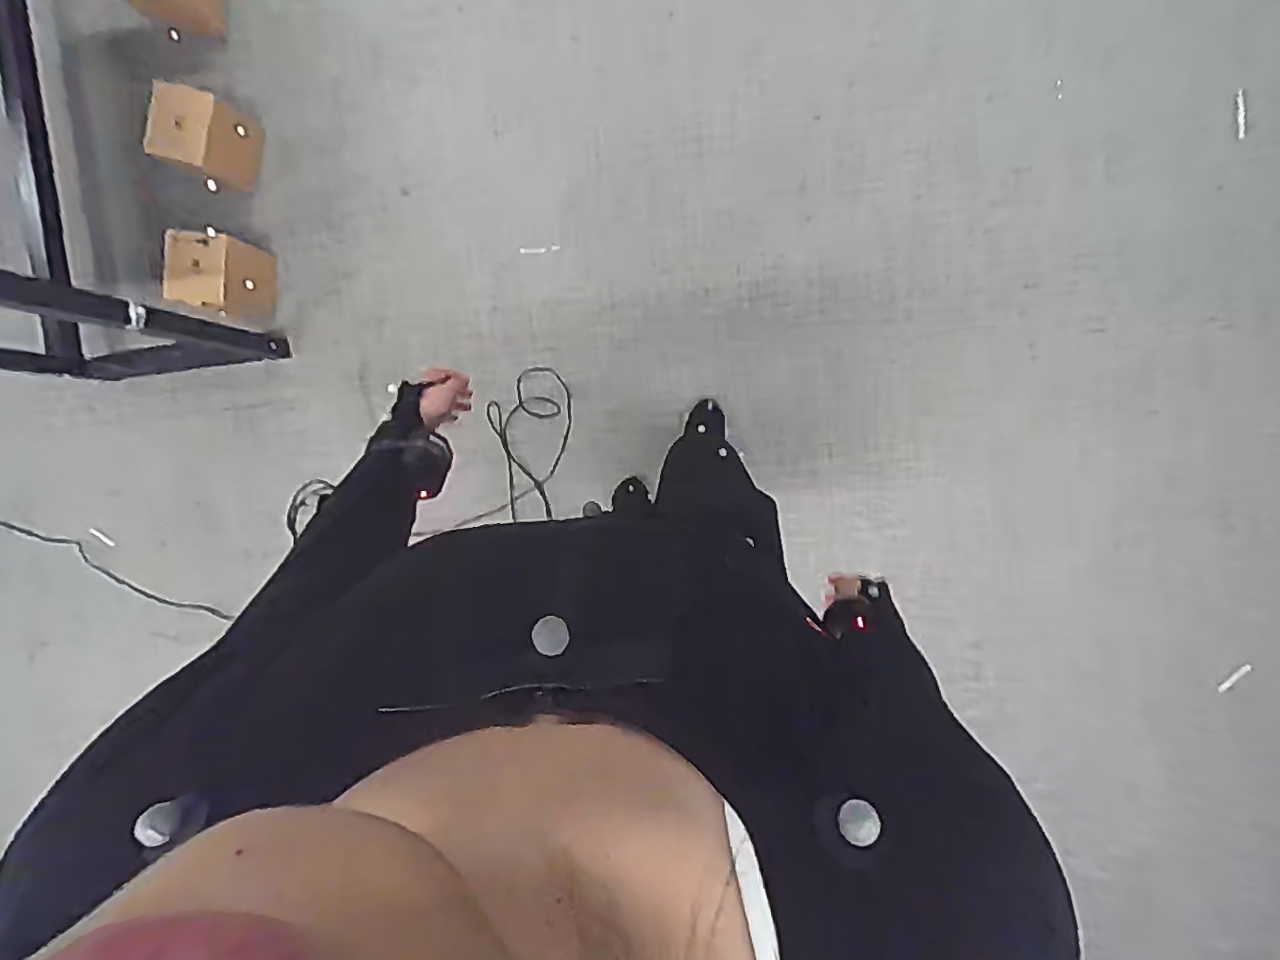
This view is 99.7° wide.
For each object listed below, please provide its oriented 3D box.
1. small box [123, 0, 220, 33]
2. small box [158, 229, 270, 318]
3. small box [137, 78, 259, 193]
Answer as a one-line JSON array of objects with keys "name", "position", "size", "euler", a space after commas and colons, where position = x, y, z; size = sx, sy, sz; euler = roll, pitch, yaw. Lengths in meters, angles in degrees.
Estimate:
[{"name": "small box", "position": [-1.206, -1.277, 1.369], "size": [0.168, 0.176, 0.179], "euler": [0, 93, 3]}, {"name": "small box", "position": [-1.111, -0.533, 1.420], "size": [0.168, 0.176, 0.179], "euler": [7, 95, 3]}, {"name": "small box", "position": [-1.130, -0.879, 1.395], "size": [0.168, 0.176, 0.179], "euler": [15, 96, 3]}]
